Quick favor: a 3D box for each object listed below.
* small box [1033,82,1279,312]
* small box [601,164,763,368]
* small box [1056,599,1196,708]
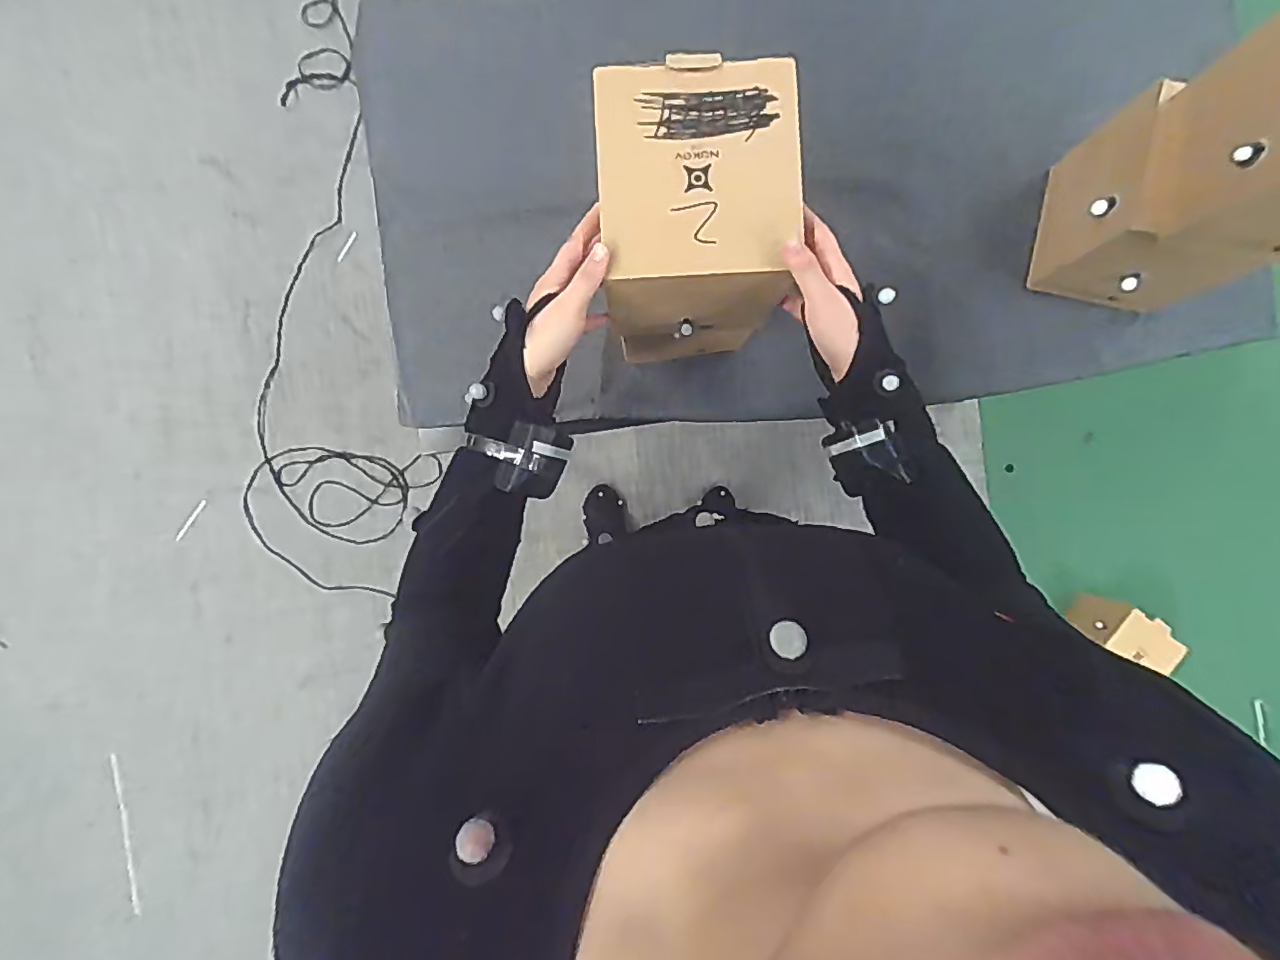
[{"bbox_3d":[0.624,-0.325,0.657,0.168,0.176,0.179,13,88,1],"label":"small box"},{"bbox_3d":[0.046,-0.254,0.677,0.168,0.176,0.179,-8,89,1],"label":"small box"},{"bbox_3d":[1.219,0.432,1.376,0.168,0.176,0.179,39,90,1],"label":"small box"}]
